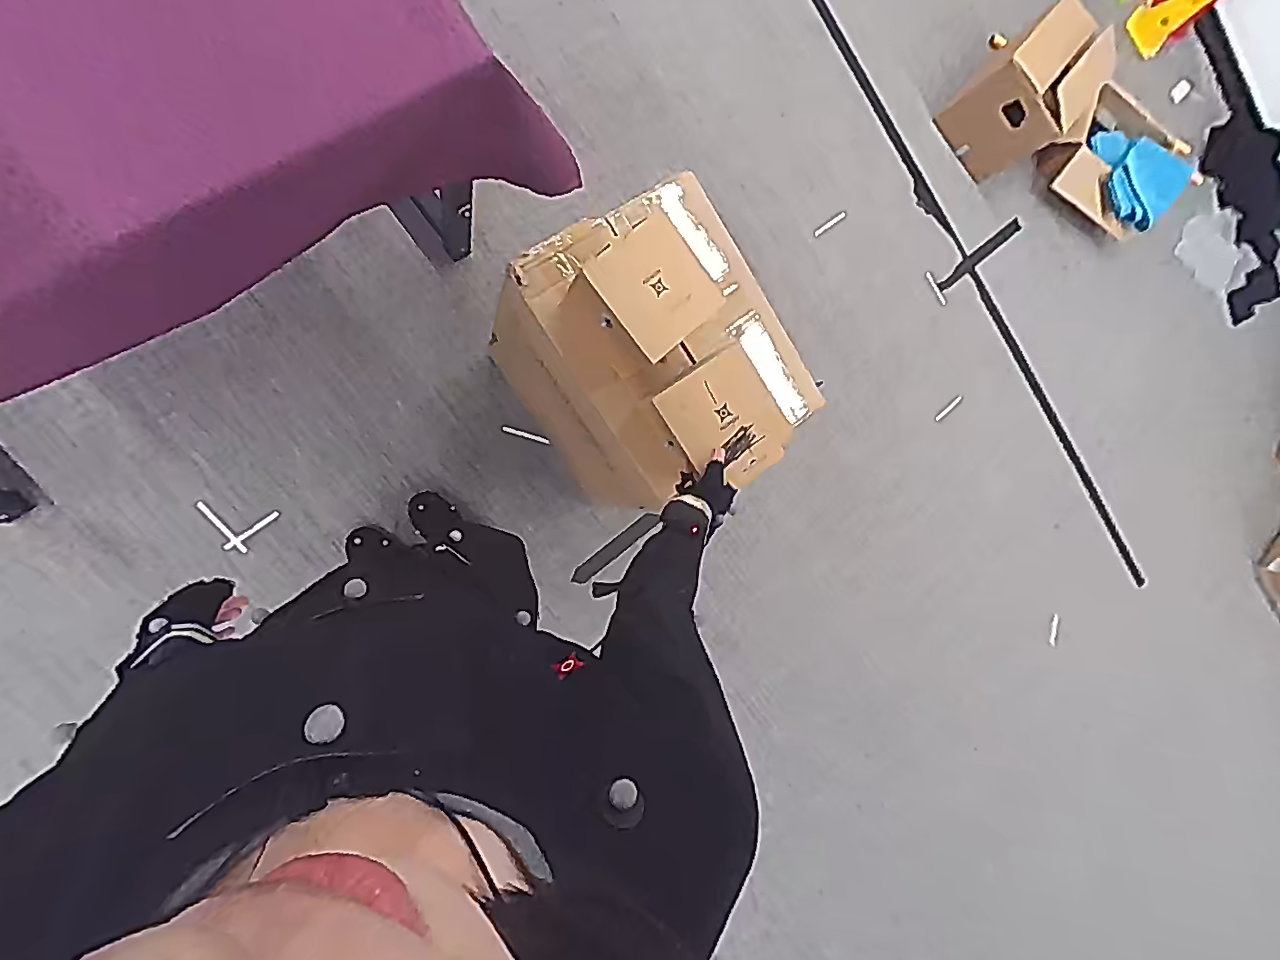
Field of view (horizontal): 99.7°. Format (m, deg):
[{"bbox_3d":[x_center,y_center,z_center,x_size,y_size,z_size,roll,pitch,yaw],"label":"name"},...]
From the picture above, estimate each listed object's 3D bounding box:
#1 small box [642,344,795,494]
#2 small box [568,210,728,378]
[{"bbox_3d":[0.121,-0.100,0.900,0.168,0.176,0.179,-35,98,-3],"label":"small box"},{"bbox_3d":[0.004,-0.289,0.882,0.168,0.176,0.179,-41,102,-13],"label":"small box"}]
